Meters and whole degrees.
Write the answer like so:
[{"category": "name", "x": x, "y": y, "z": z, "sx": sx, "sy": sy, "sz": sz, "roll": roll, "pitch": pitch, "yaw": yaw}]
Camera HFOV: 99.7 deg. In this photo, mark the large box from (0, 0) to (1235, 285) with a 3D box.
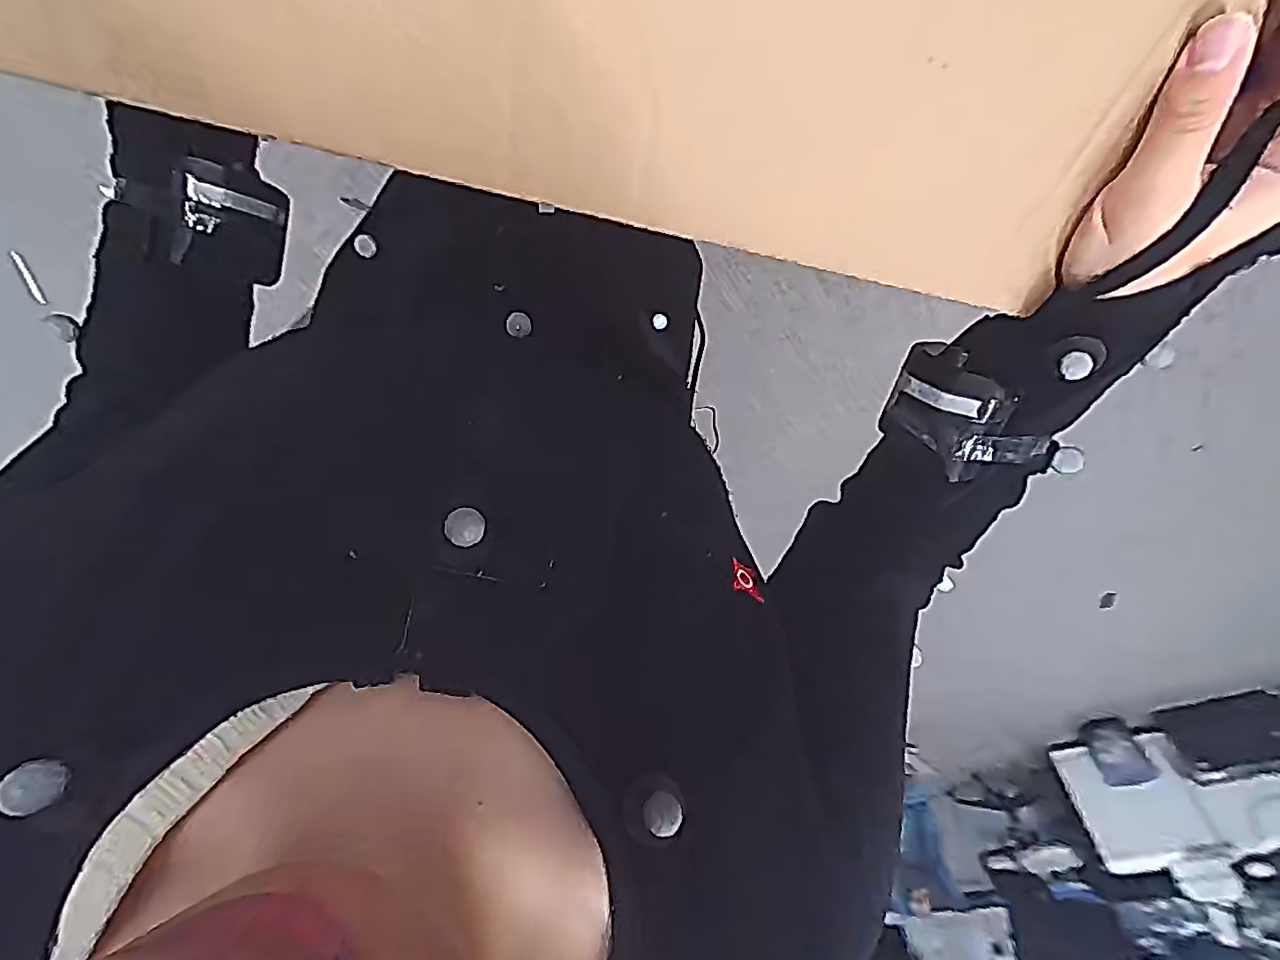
[{"category": "large box", "x": 0.002, "y": -0.318, "z": 0.212, "sx": 0.408, "sy": 0.320, "sz": 0.320, "roll": 5, "pitch": 134, "yaw": -15}]
